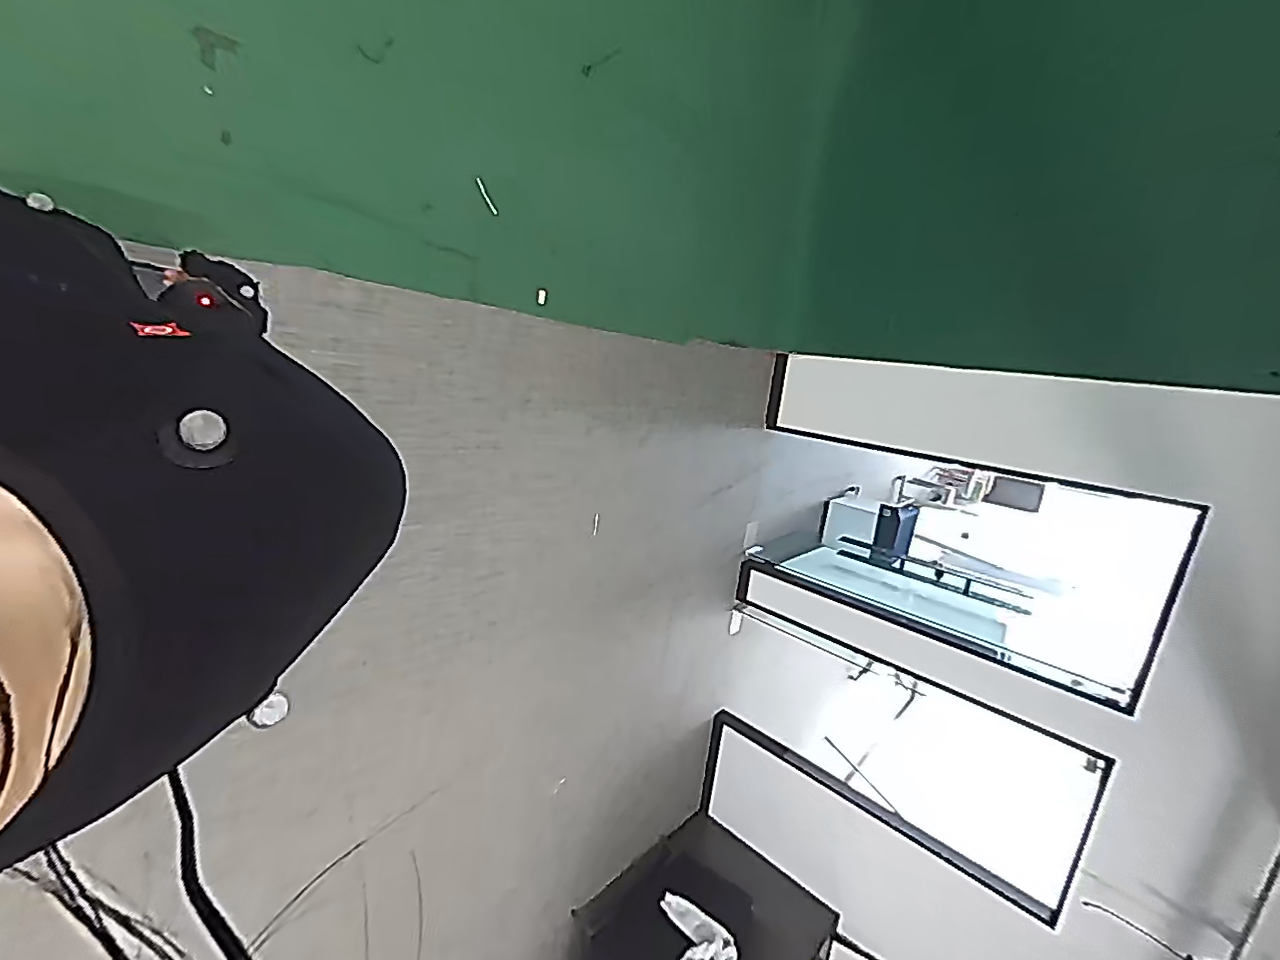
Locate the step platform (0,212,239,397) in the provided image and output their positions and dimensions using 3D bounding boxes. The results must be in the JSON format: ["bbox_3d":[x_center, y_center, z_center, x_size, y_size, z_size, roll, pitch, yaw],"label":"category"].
[{"bbox_3d":[-1.079,-0.296,0.866,0.684,0.204,0.286,-6,109,-47],"label":"step platform"}]
